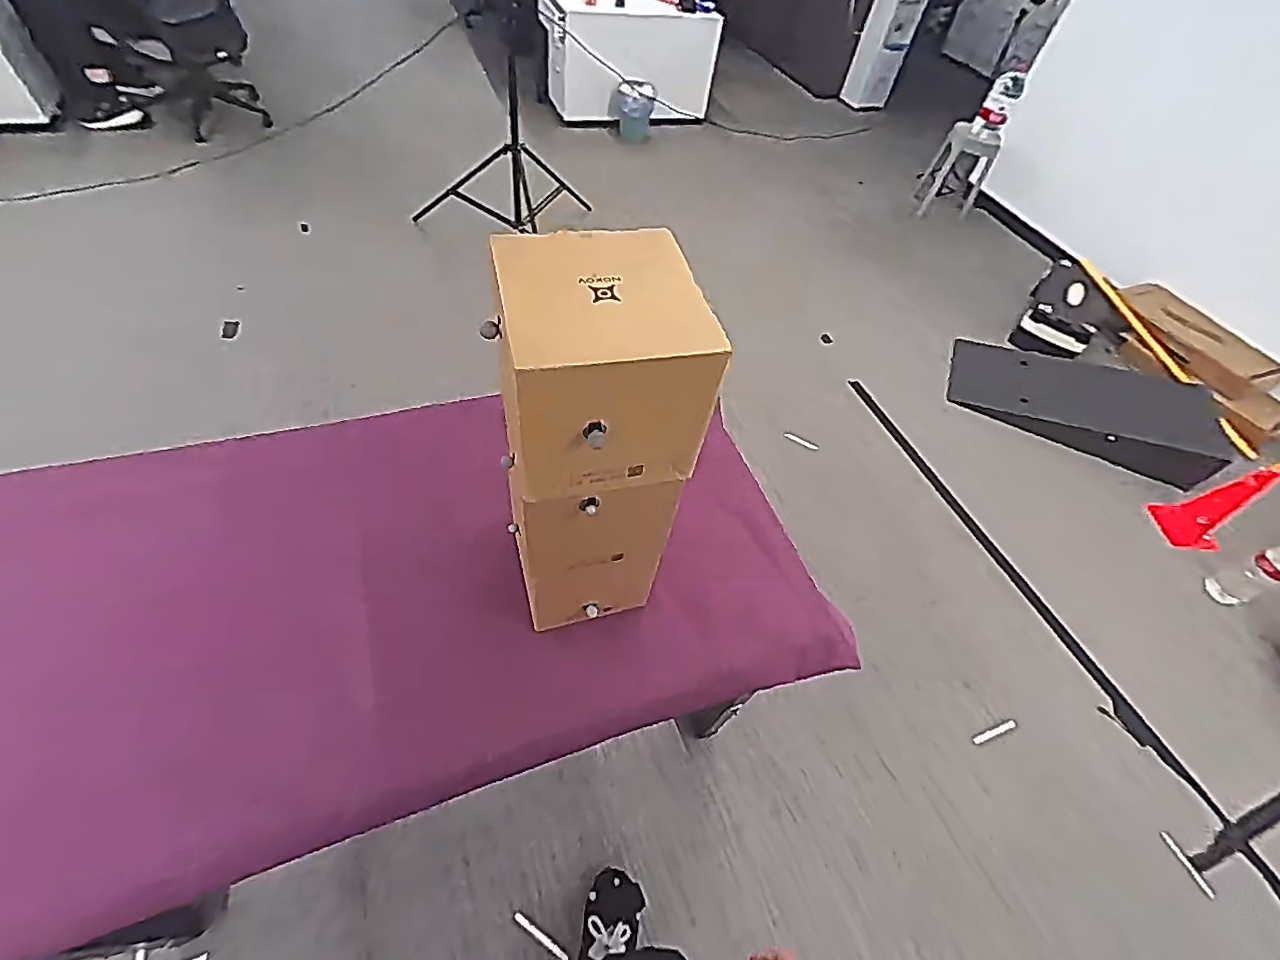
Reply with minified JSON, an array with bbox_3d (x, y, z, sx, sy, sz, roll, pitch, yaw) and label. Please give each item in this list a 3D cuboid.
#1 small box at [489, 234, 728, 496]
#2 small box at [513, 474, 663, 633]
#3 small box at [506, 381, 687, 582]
[{"bbox_3d":[-0.038,-0.100,0.500,0.168,0.176,0.179,-9,54,-14],"label":"small box"},{"bbox_3d":[-0.082,0.089,0.764,0.168,0.176,0.179,-10,56,-16],"label":"small box"},{"bbox_3d":[-0.061,-0.006,0.632,0.168,0.176,0.179,-9,54,-14],"label":"small box"}]
